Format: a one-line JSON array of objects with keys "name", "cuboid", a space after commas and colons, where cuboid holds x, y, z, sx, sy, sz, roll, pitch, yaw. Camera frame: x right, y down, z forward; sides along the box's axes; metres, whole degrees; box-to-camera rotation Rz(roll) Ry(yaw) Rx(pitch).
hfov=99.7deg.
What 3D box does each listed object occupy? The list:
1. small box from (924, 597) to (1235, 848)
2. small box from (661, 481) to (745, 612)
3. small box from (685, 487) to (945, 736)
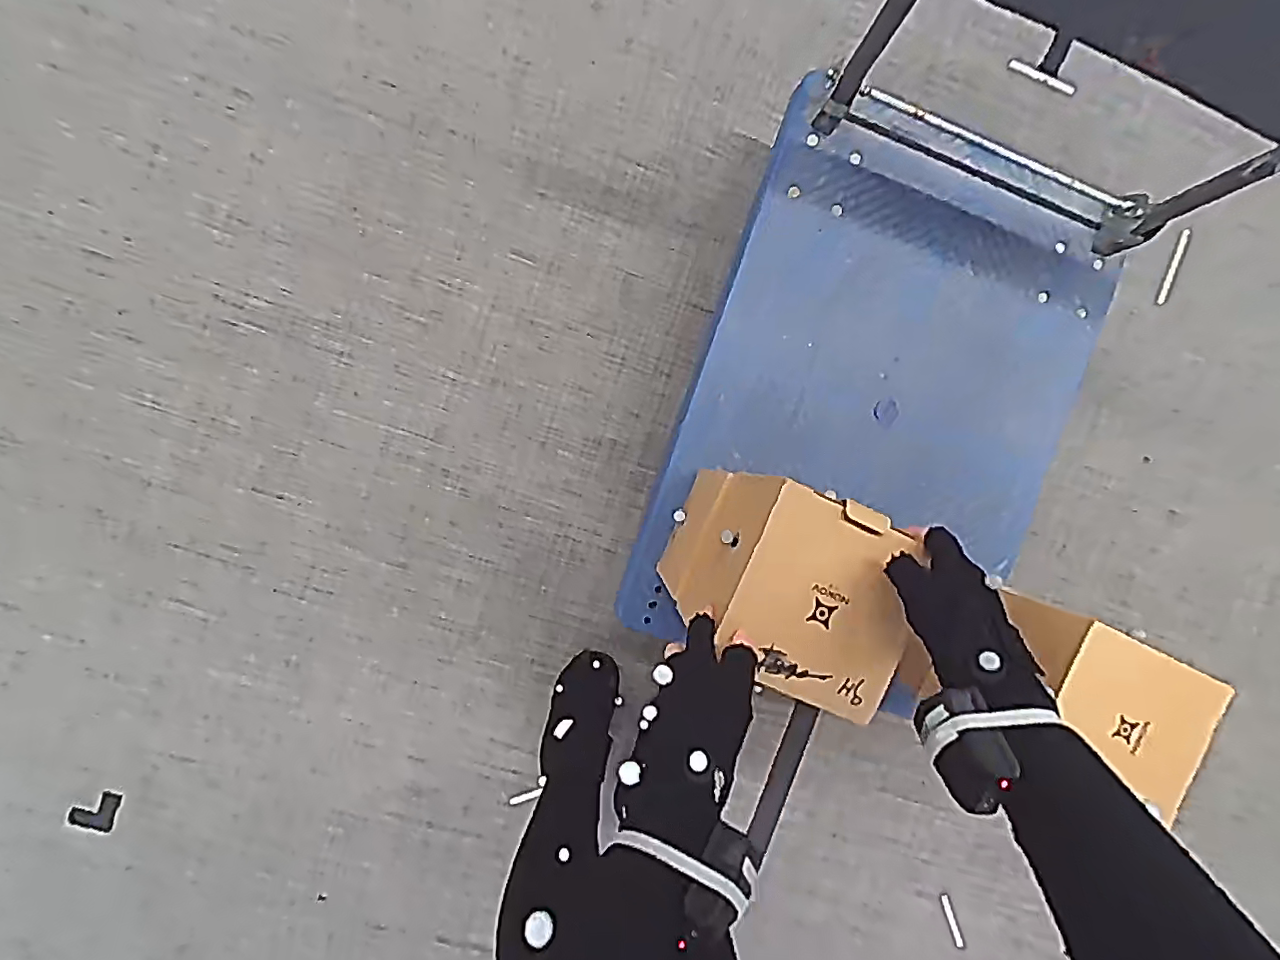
[{"name": "small box", "cuboid": [0.456, 0.243, 0.592, 0.179, 0.176, 0.168, 25, 90, -7]}, {"name": "small box", "cuboid": [0.143, 0.106, 0.718, 0.179, 0.176, 0.168, 24, 90, -5]}, {"name": "small box", "cuboid": [0.159, 0.115, 0.553, 0.168, 0.176, 0.179, 24, 89, -5]}]
